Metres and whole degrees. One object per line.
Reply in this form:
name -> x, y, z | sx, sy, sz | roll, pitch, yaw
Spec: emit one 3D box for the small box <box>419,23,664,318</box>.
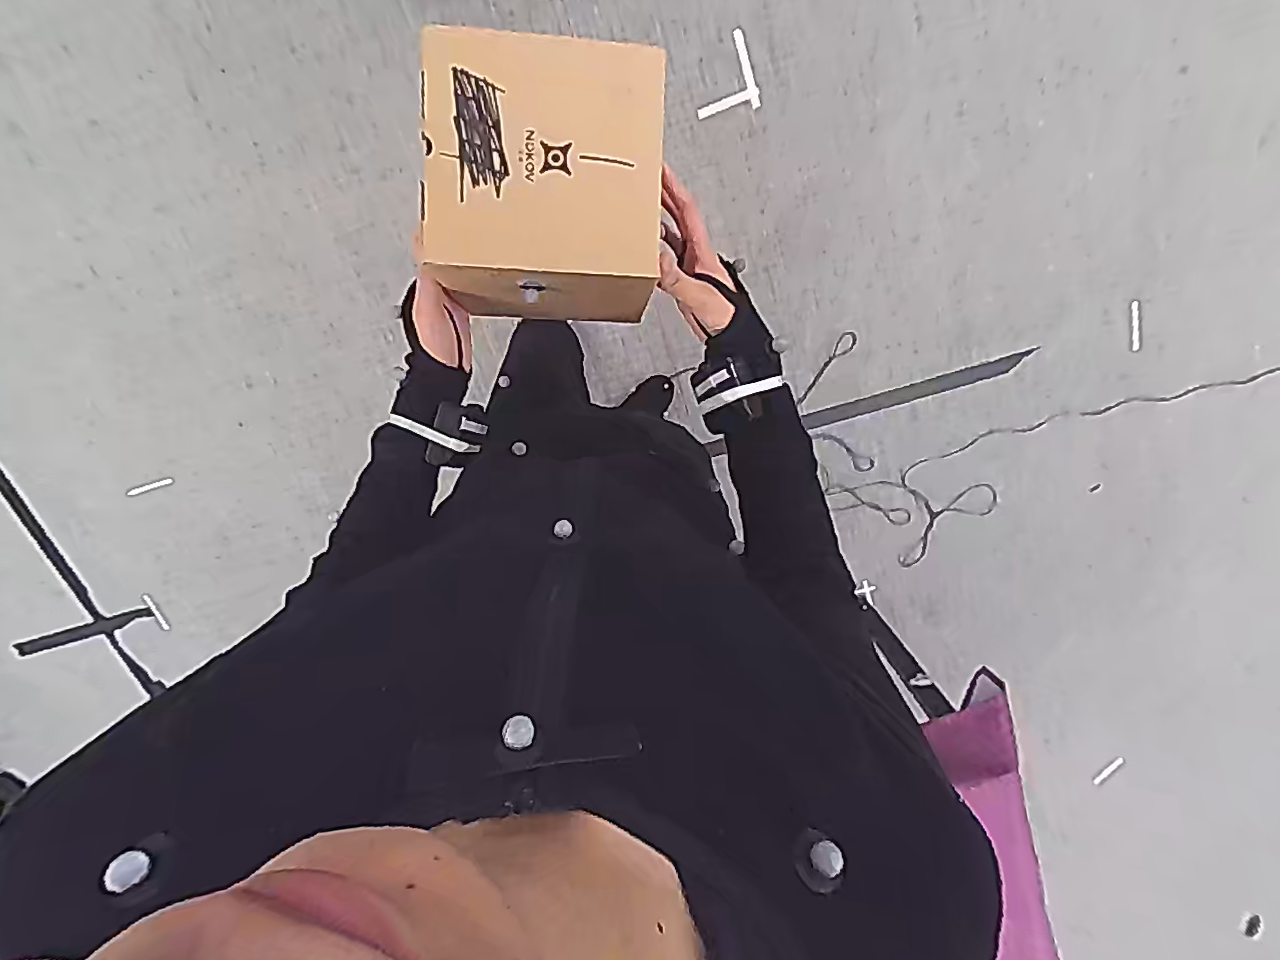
small box -> -0.078, -0.245, 0.474 | 0.179, 0.176, 0.168 | 1, 94, -6
